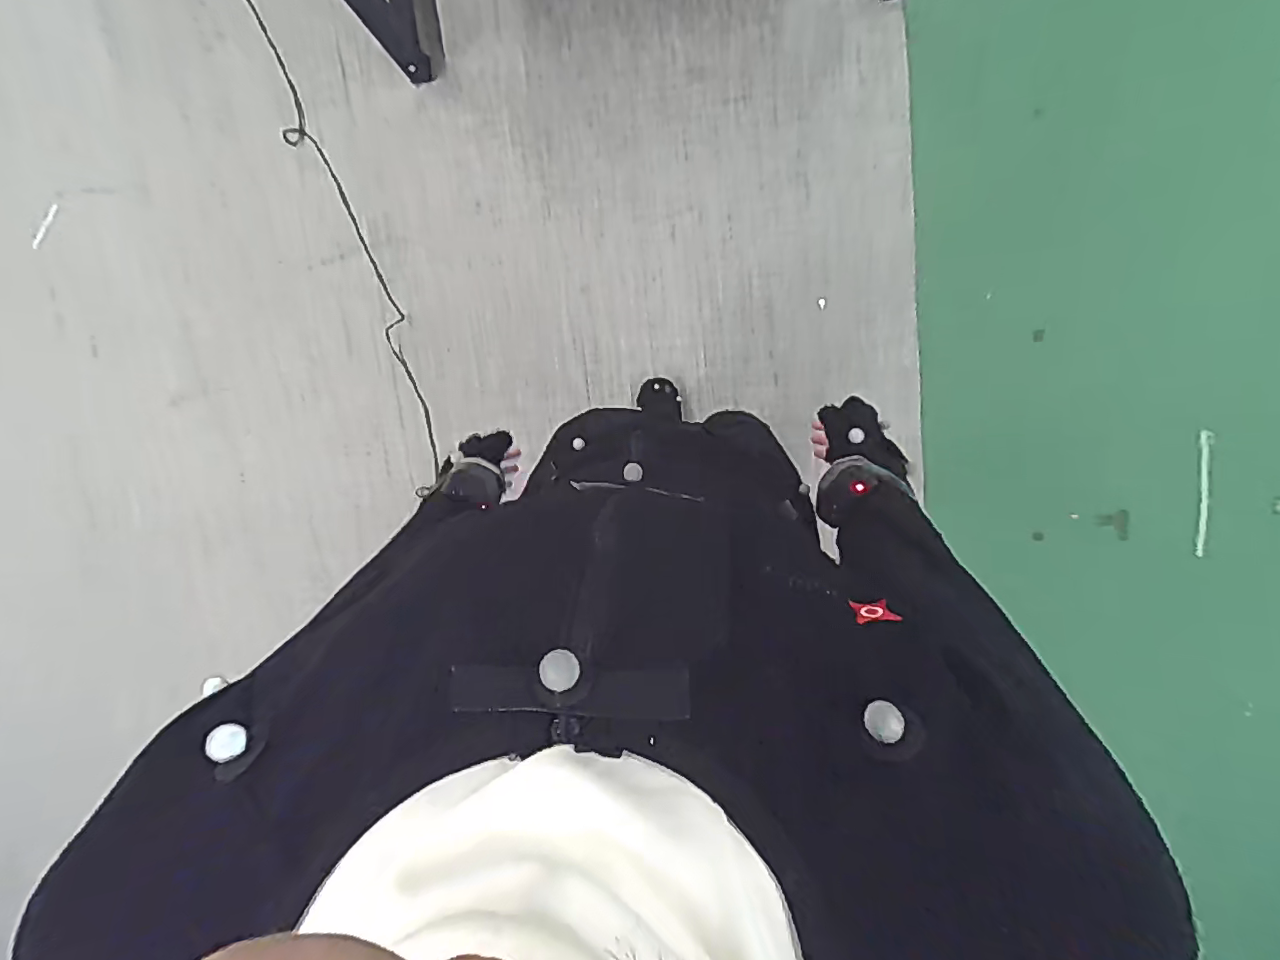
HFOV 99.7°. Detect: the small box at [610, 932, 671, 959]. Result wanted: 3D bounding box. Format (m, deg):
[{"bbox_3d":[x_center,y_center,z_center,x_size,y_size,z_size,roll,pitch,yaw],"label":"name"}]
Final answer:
[{"bbox_3d":[0.000,1.454,1.559,0.179,0.176,0.168,-1,98,4],"label":"small box"}]
